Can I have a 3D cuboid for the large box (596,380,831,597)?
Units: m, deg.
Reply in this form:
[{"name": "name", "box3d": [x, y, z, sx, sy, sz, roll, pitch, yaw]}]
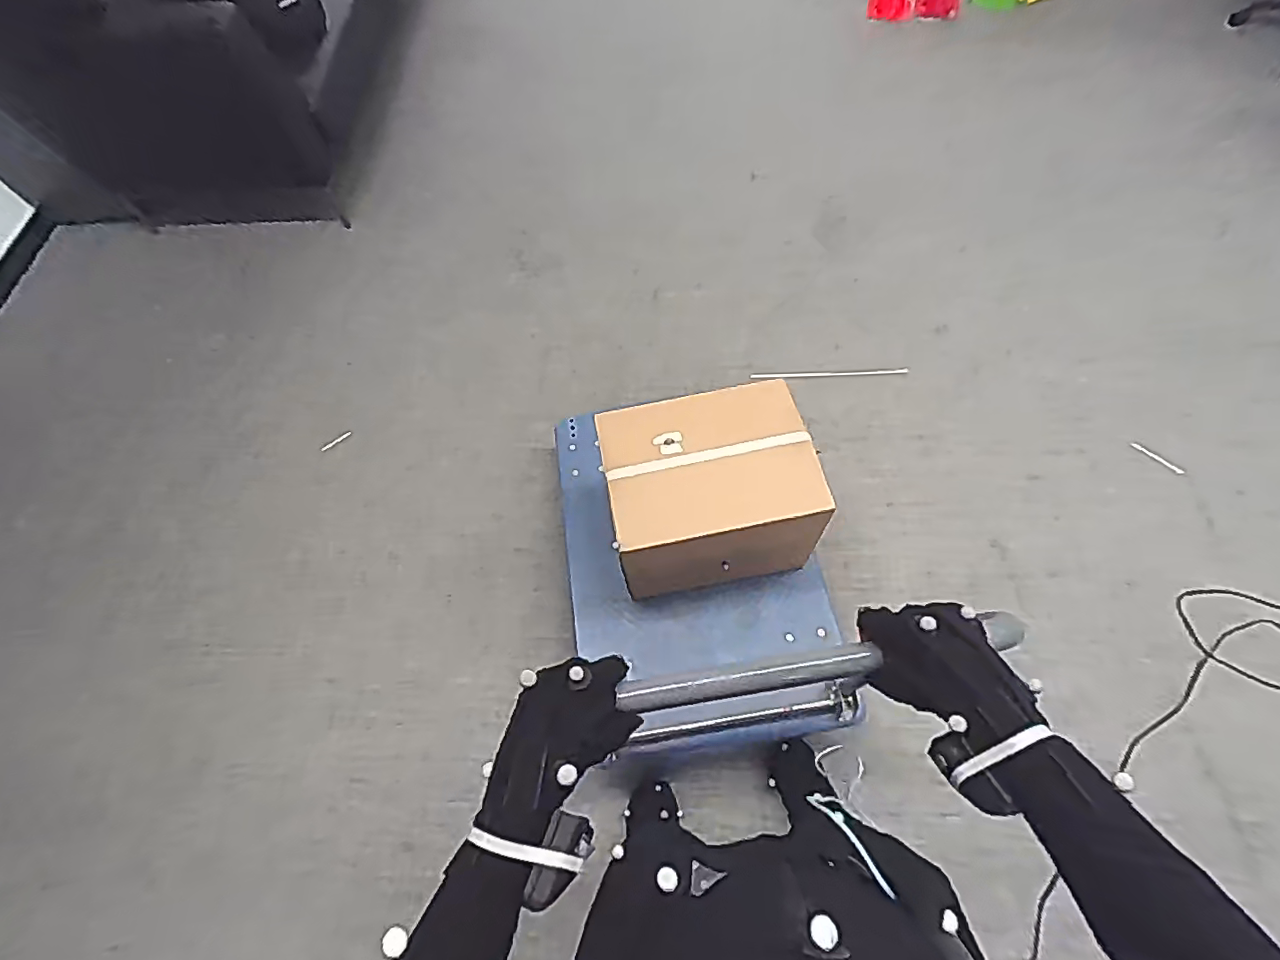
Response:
[{"name": "large box", "box3d": [0.146, 0.032, 1.194, 0.408, 0.320, 0.320, -13, 61, -1]}]
